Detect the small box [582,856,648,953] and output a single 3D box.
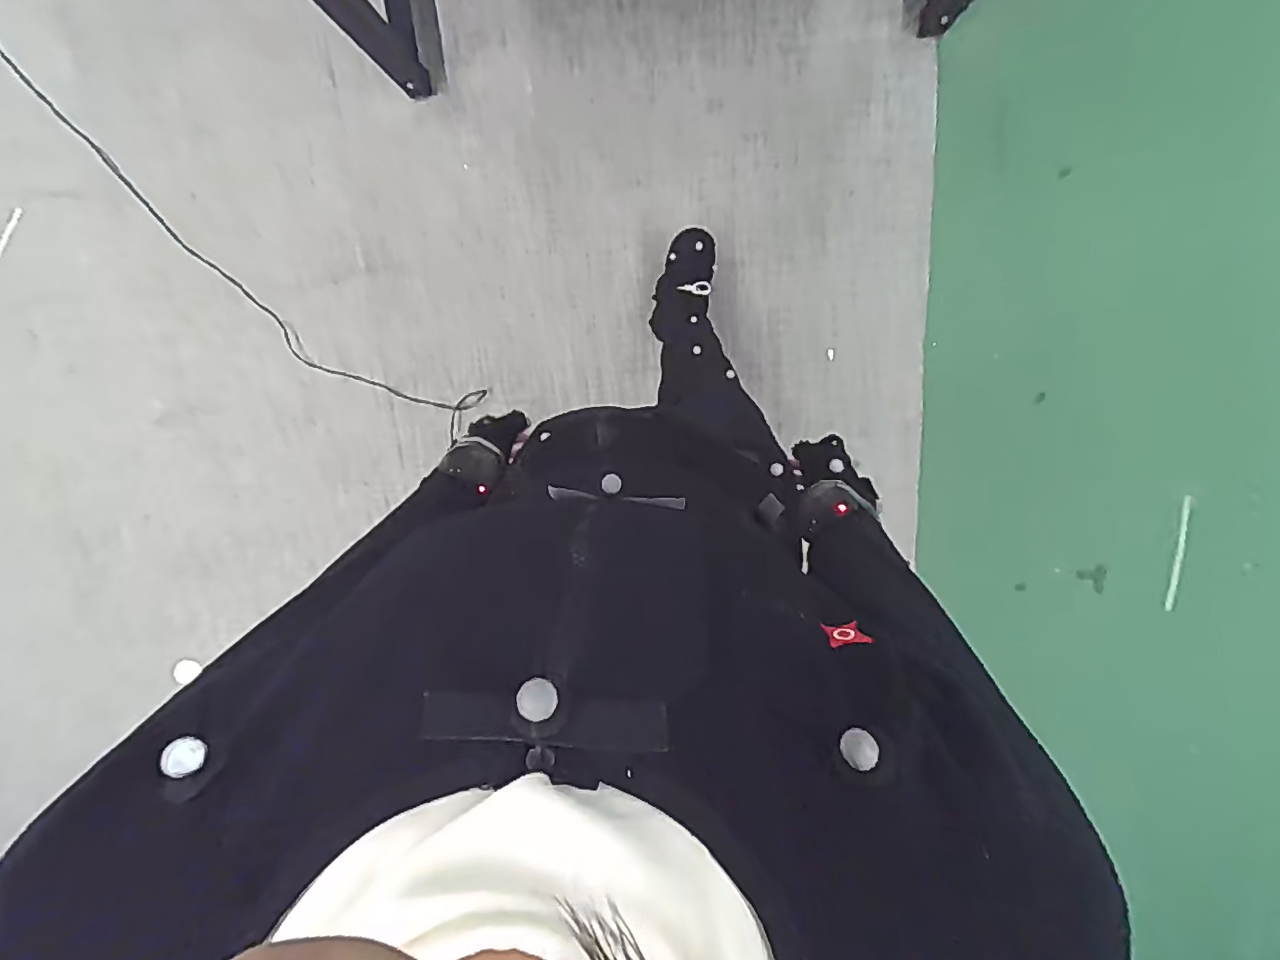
[{"bbox_3d":[-0.072,1.274,1.632,0.179,0.176,0.168,-6,105,3],"label":"small box"}]
